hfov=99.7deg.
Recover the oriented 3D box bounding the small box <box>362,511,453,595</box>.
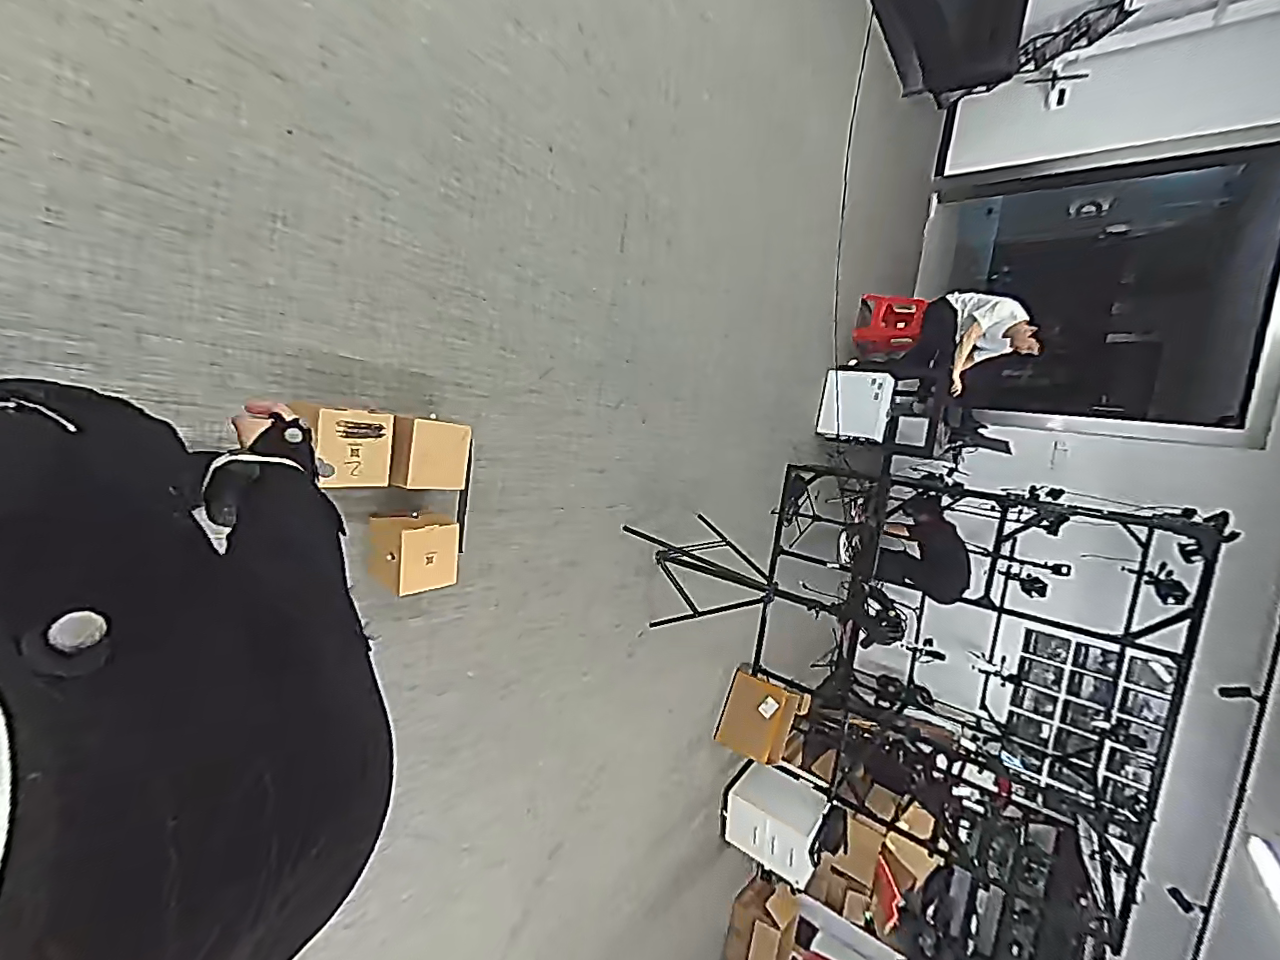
[{"bbox_3d":[-0.629,0.189,1.459,0.168,0.176,0.179,-5,103,-52],"label":"small box"}]

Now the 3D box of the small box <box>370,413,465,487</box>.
[{"bbox_3d":[-0.588,-0.077,1.430,0.168,0.176,0.179,4,97,-53],"label":"small box"}]
